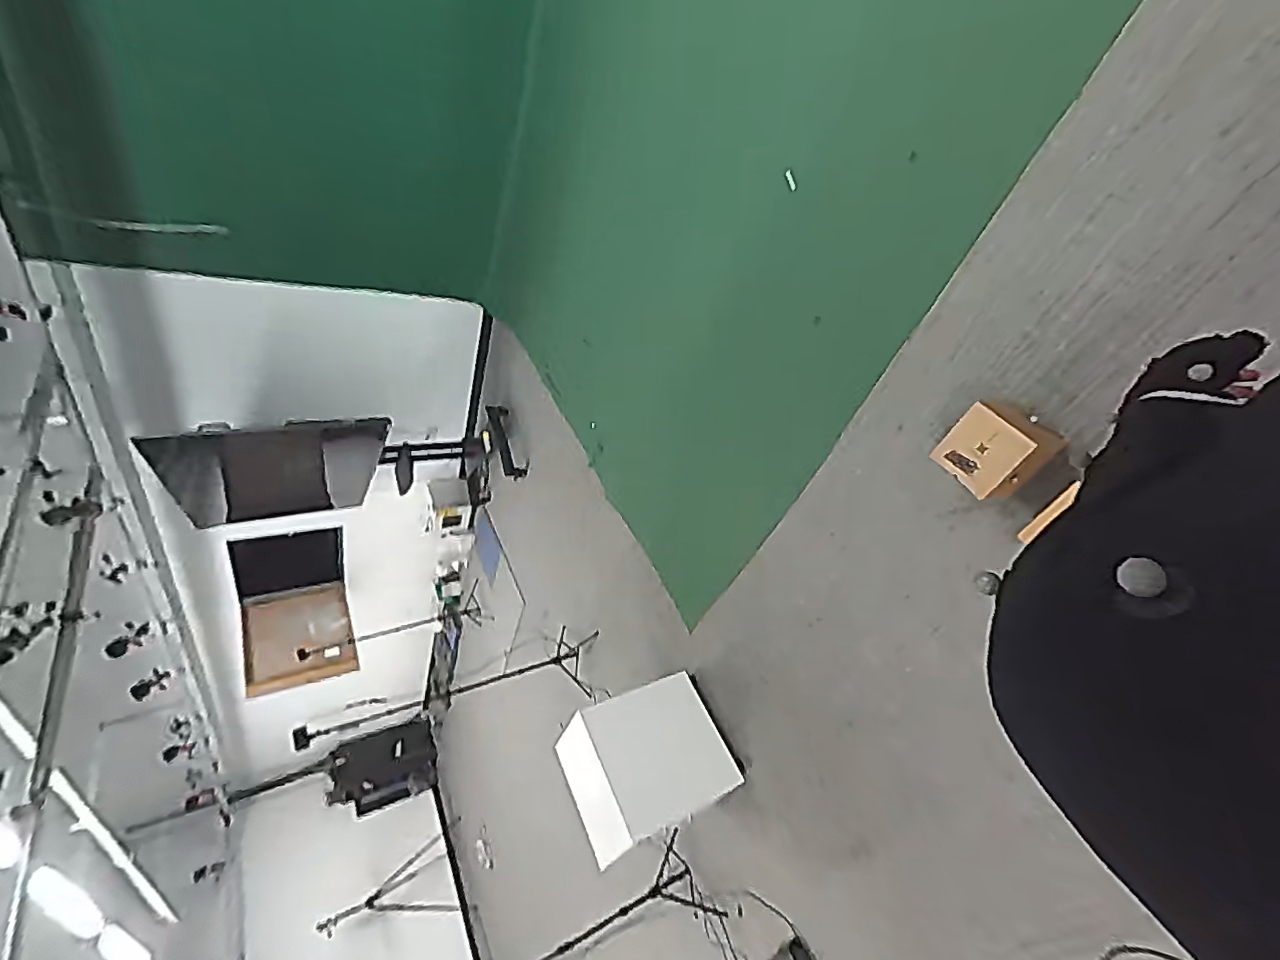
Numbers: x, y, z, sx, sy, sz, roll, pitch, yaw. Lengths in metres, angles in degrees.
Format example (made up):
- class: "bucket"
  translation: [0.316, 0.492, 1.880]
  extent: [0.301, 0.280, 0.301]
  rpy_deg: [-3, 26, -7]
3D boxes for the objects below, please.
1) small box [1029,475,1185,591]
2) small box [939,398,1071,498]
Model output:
- class: "small box"
  translation: [0.992, 0.105, 1.147]
  extent: [0.168, 0.176, 0.179]
  rpy_deg: [56, 138, 37]
- class: "small box"
  translation: [0.874, -0.078, 1.295]
  extent: [0.168, 0.176, 0.179]
  rpy_deg: [56, 137, 36]
